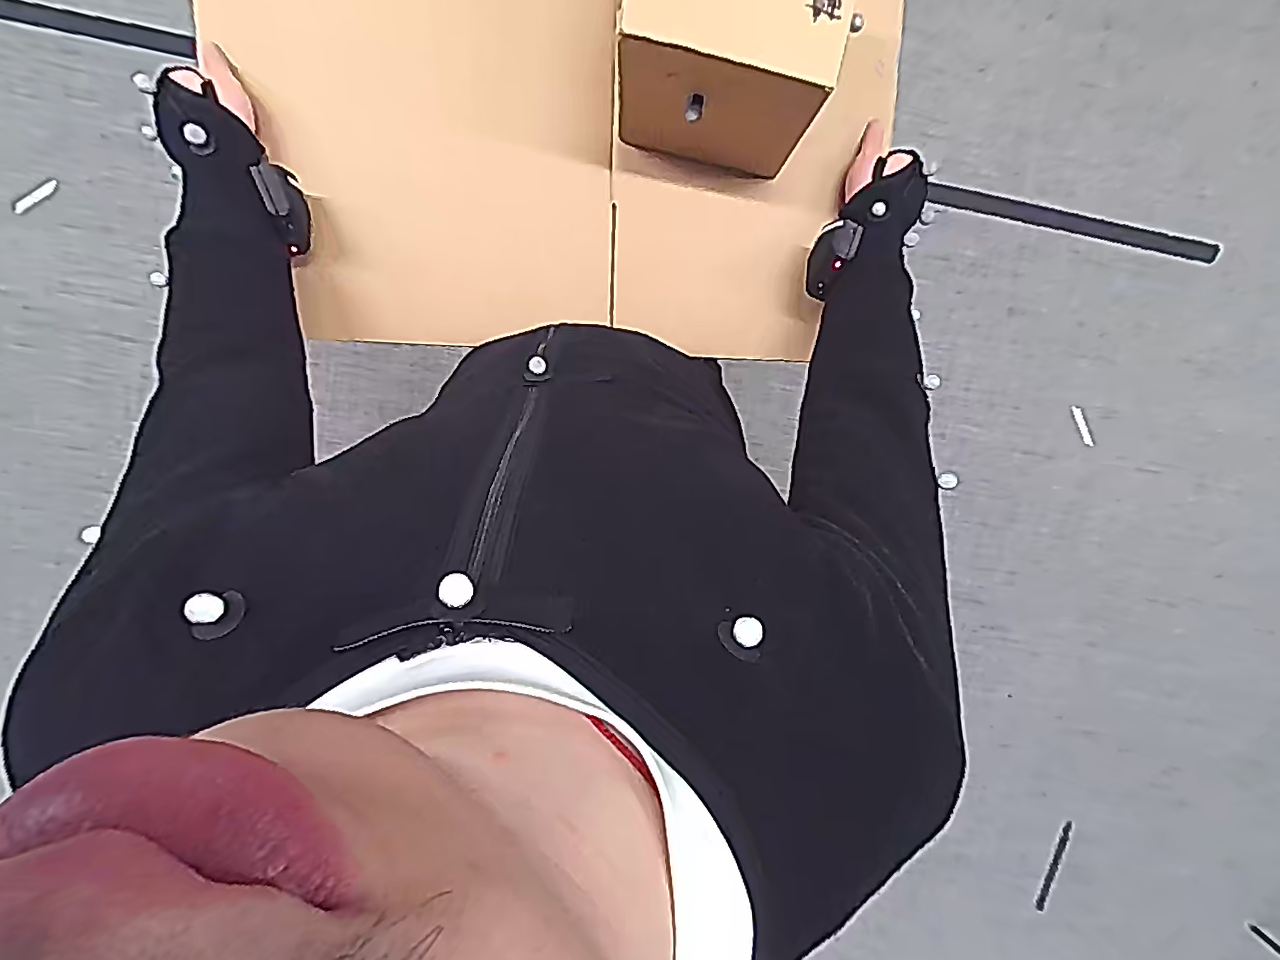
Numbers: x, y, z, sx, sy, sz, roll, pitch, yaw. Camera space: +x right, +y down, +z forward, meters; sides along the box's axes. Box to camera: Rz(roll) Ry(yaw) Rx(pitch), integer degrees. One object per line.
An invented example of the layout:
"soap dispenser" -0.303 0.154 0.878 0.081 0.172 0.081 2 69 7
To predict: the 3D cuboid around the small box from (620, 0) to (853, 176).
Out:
"small box" 0.084 -0.412 0.498 0.179 0.176 0.168 12 97 -3
